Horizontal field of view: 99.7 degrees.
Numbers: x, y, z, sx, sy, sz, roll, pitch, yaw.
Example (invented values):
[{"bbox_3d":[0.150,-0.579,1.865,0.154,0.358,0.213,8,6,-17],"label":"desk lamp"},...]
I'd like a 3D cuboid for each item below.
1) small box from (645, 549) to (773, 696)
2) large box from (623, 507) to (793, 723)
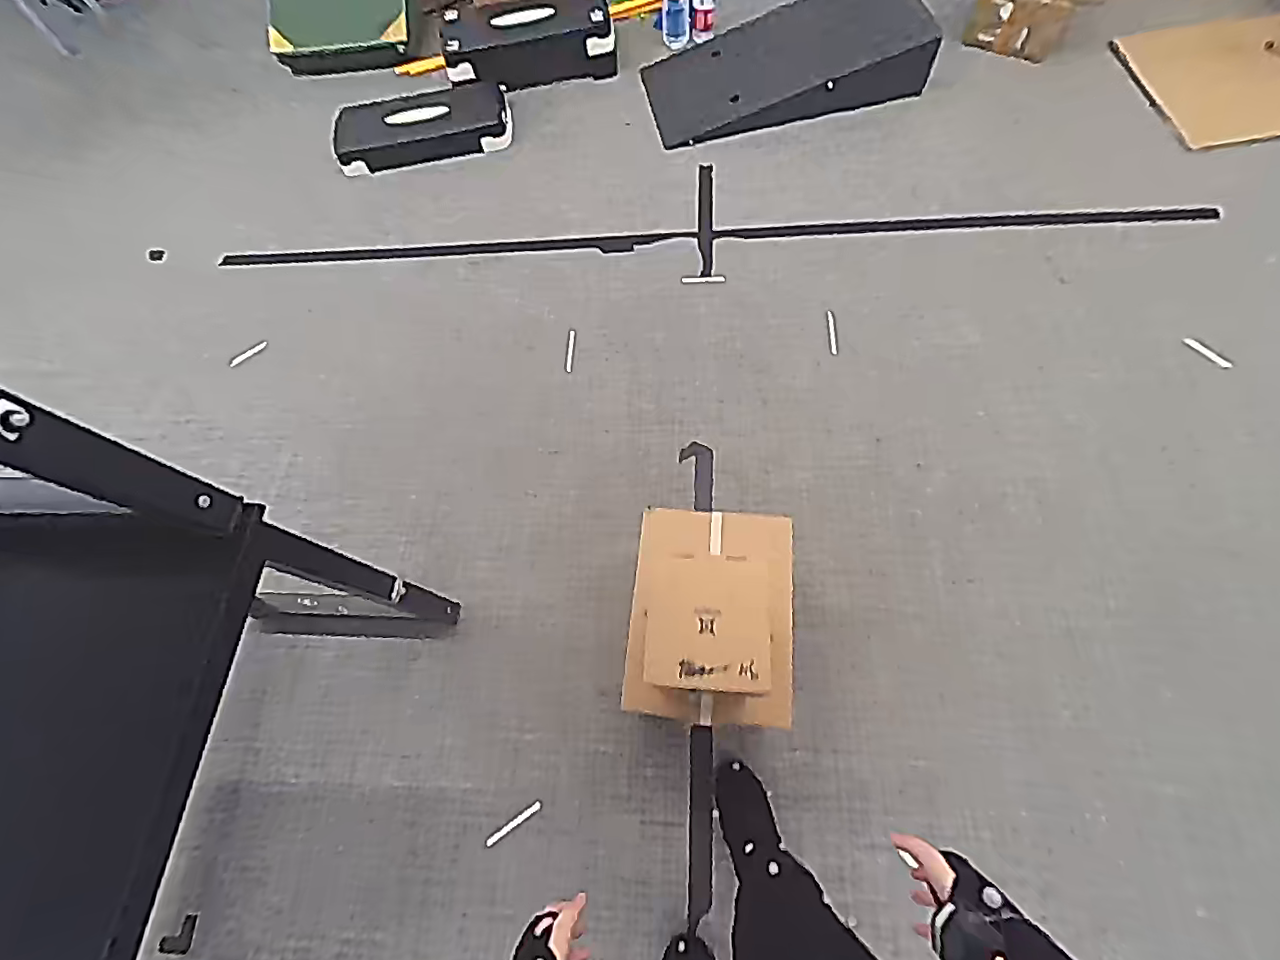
[{"bbox_3d":[0.102,0.213,0.792,0.168,0.176,0.179,2,66,8],"label":"small box"},{"bbox_3d":[0.150,0.307,1.192,0.320,0.320,0.408,4,67,6],"label":"large box"}]
